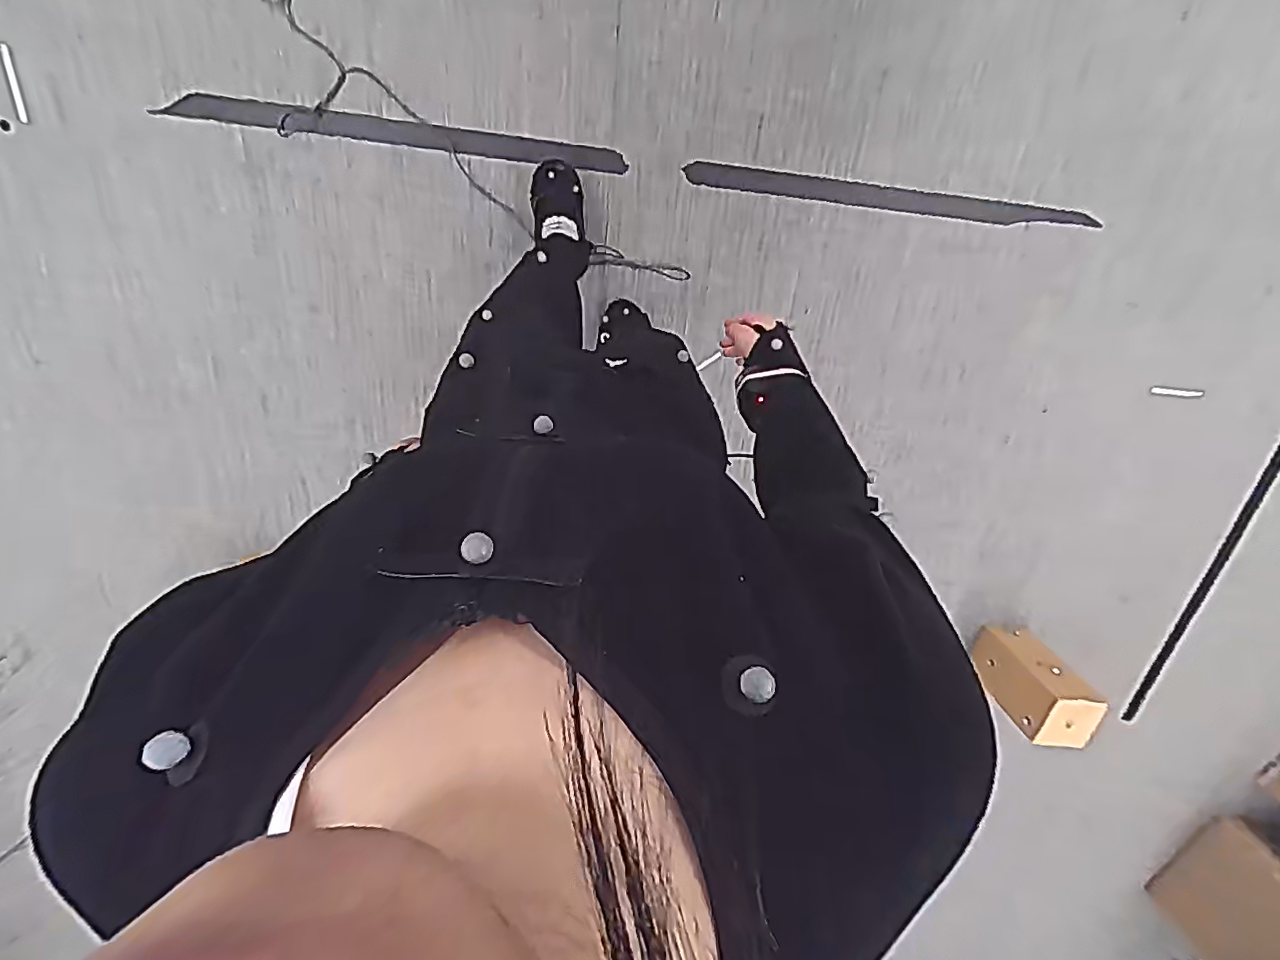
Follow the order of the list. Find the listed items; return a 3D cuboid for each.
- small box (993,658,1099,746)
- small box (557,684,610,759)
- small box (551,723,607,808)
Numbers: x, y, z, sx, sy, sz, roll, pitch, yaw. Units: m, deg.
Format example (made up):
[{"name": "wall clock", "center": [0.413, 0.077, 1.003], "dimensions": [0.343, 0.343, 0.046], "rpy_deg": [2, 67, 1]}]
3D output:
[{"name": "small box", "center": [1.223, 0.673, 1.647], "dimensions": [0.168, 0.176, 0.179], "rpy_deg": [7, 112, -7]}, {"name": "small box", "center": [-0.187, 0.806, 1.810], "dimensions": [0.168, 0.176, 0.179], "rpy_deg": [0, 114, -2]}, {"name": "small box", "center": [-0.185, 0.870, 1.658], "dimensions": [0.168, 0.176, 0.179], "rpy_deg": [1, 113, -3]}]
